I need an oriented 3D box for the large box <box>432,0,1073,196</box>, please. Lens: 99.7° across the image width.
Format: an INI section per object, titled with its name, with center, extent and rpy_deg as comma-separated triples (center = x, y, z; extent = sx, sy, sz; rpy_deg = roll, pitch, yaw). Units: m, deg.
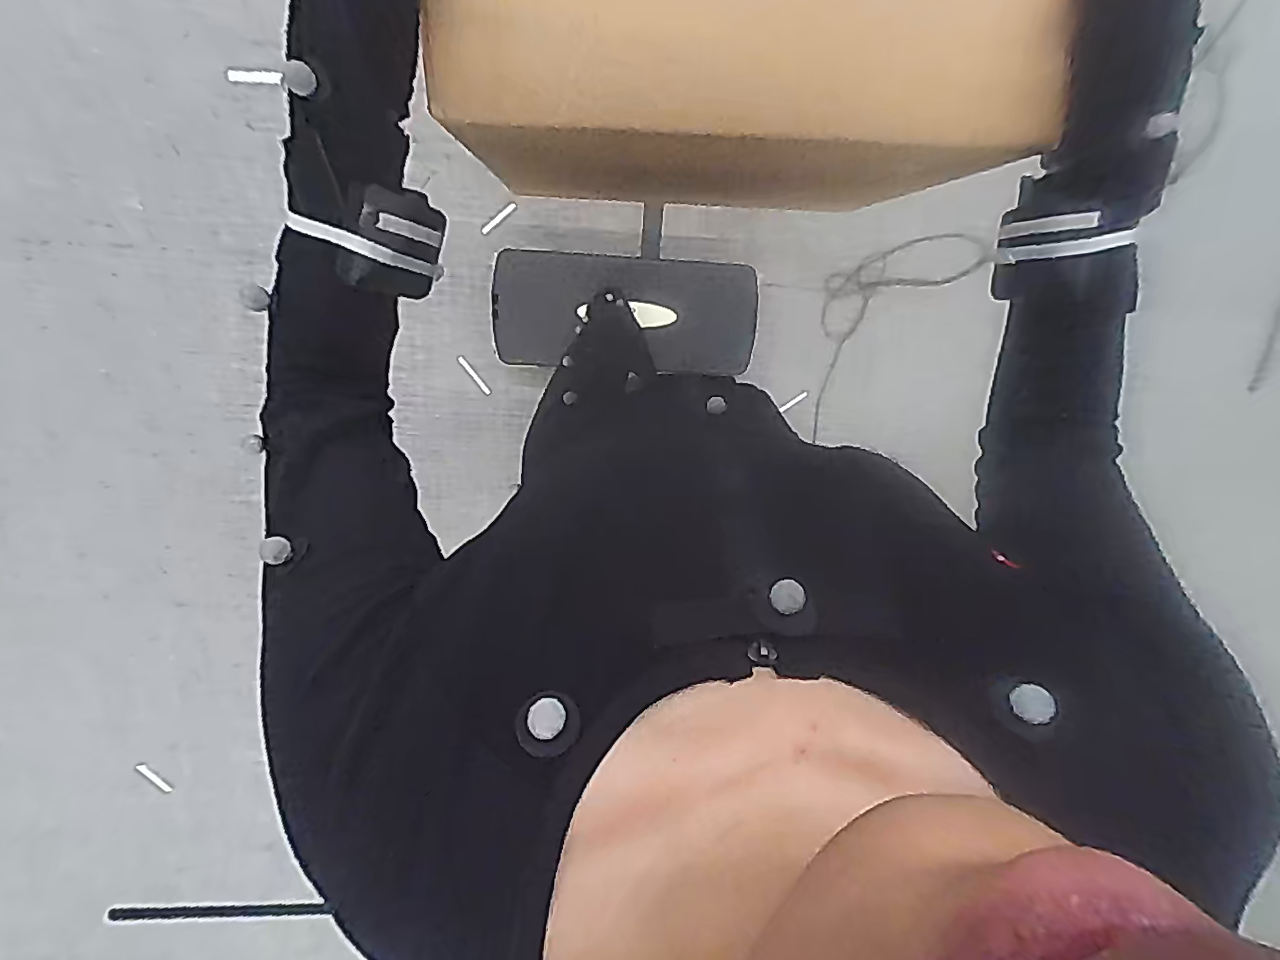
[large box]
center = 0.063, -0.426, 0.437
extent = 0.408, 0.320, 0.320
rpy_deg = 0, 111, -5
